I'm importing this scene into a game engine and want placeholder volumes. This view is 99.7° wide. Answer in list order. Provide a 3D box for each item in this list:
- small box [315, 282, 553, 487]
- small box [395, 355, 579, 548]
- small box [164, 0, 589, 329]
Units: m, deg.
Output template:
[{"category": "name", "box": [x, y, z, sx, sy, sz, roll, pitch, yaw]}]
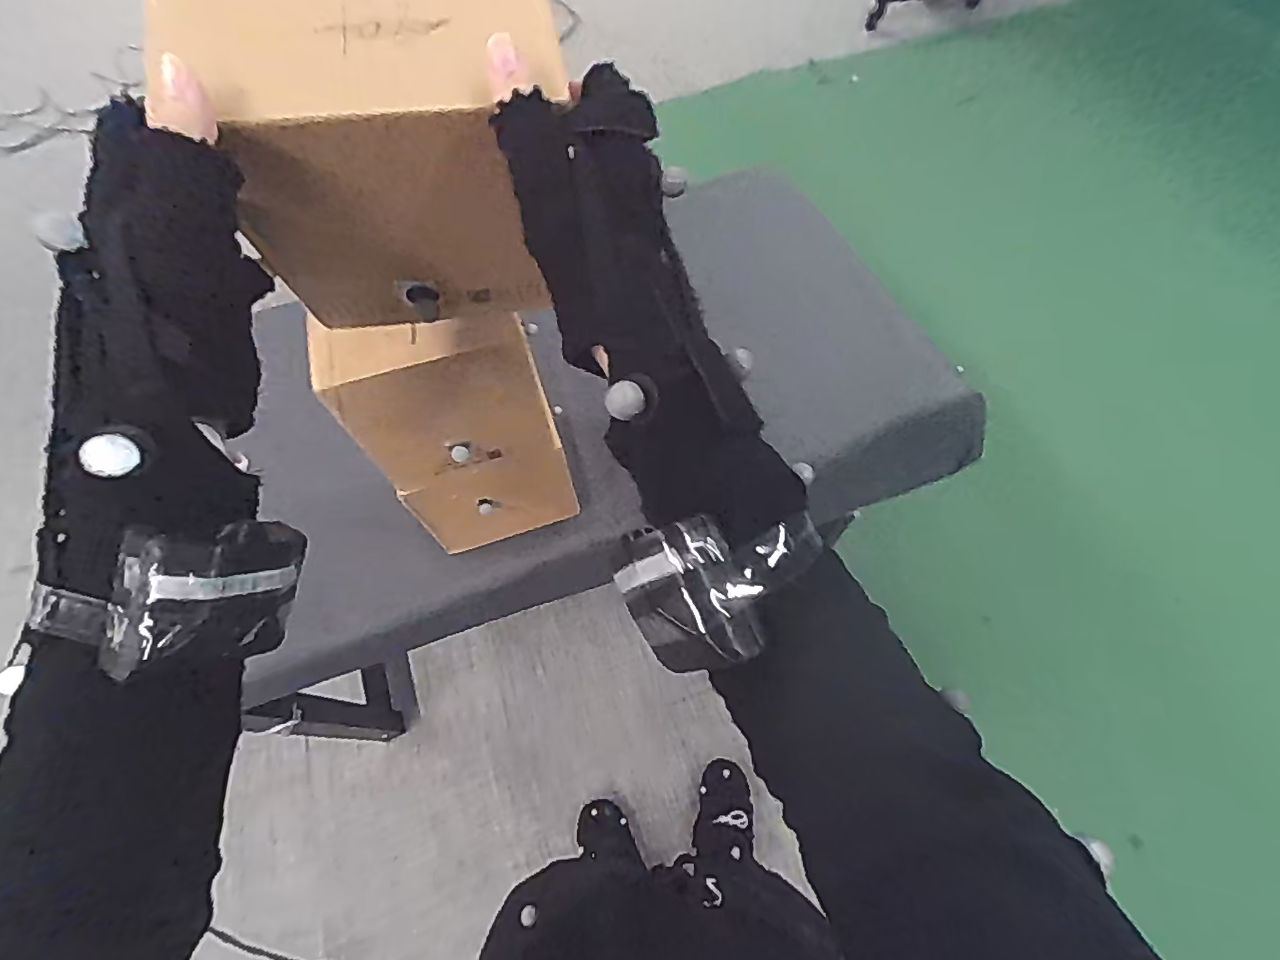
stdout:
[{"category": "small box", "box": [-0.192, -0.120, 0.532, 0.168, 0.176, 0.179, -16, 62, -7]}, {"category": "small box", "box": [-0.187, -0.035, 0.673, 0.179, 0.176, 0.168, -17, 62, -7]}, {"category": "small box", "box": [-0.126, -0.211, 0.315, 0.168, 0.176, 0.179, -8, 79, -9]}]
